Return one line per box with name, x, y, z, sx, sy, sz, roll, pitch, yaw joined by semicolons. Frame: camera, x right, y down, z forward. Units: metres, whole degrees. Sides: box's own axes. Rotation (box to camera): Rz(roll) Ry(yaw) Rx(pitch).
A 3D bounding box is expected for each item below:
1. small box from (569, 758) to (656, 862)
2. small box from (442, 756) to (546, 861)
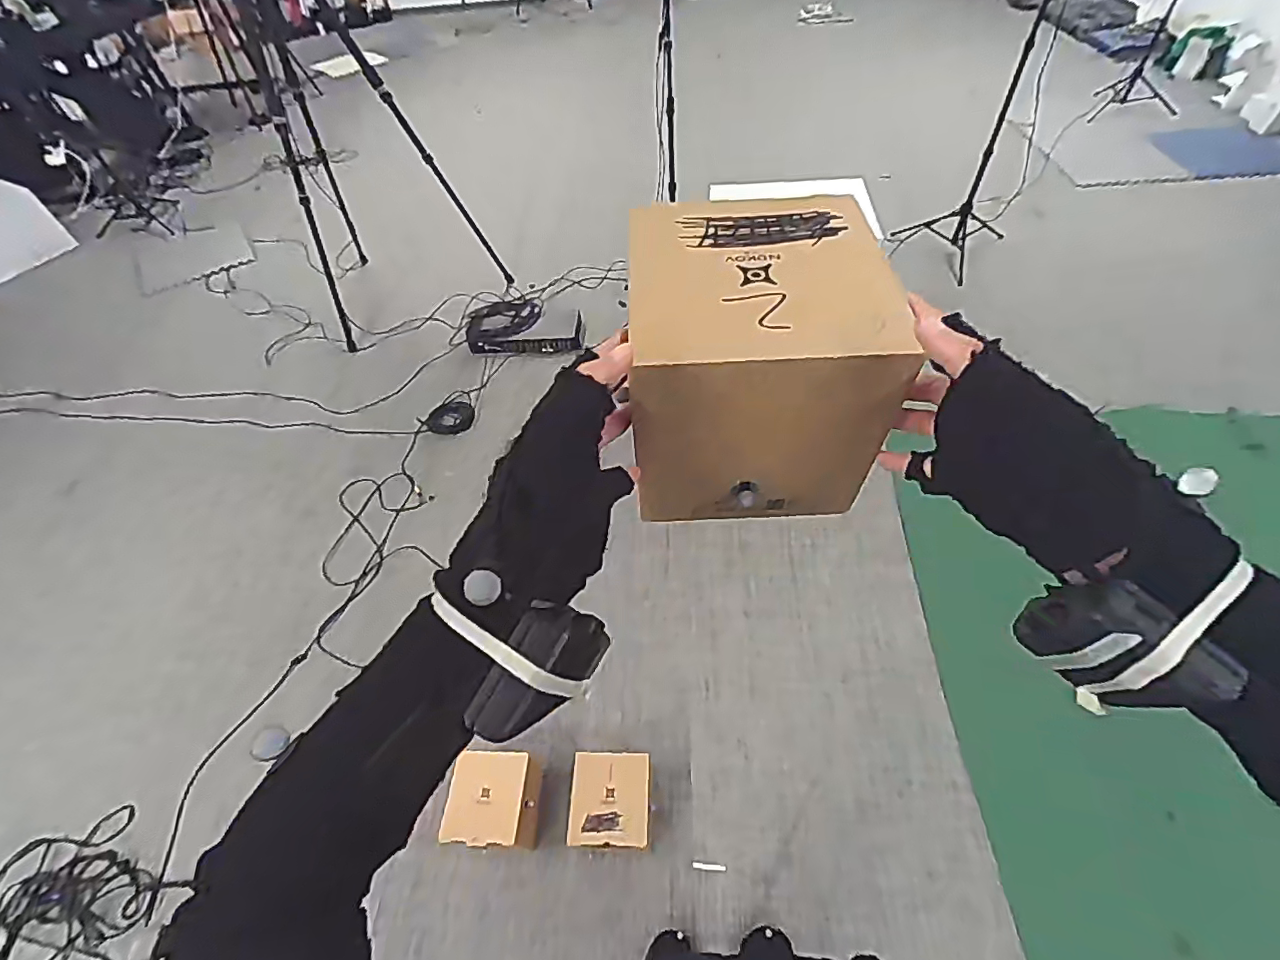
small box;-0.052;0.733;1.196;0.168;0.176;0.179;-1;50;6
small box;-0.317;0.743;1.221;0.168;0.176;0.179;-1;51;6
